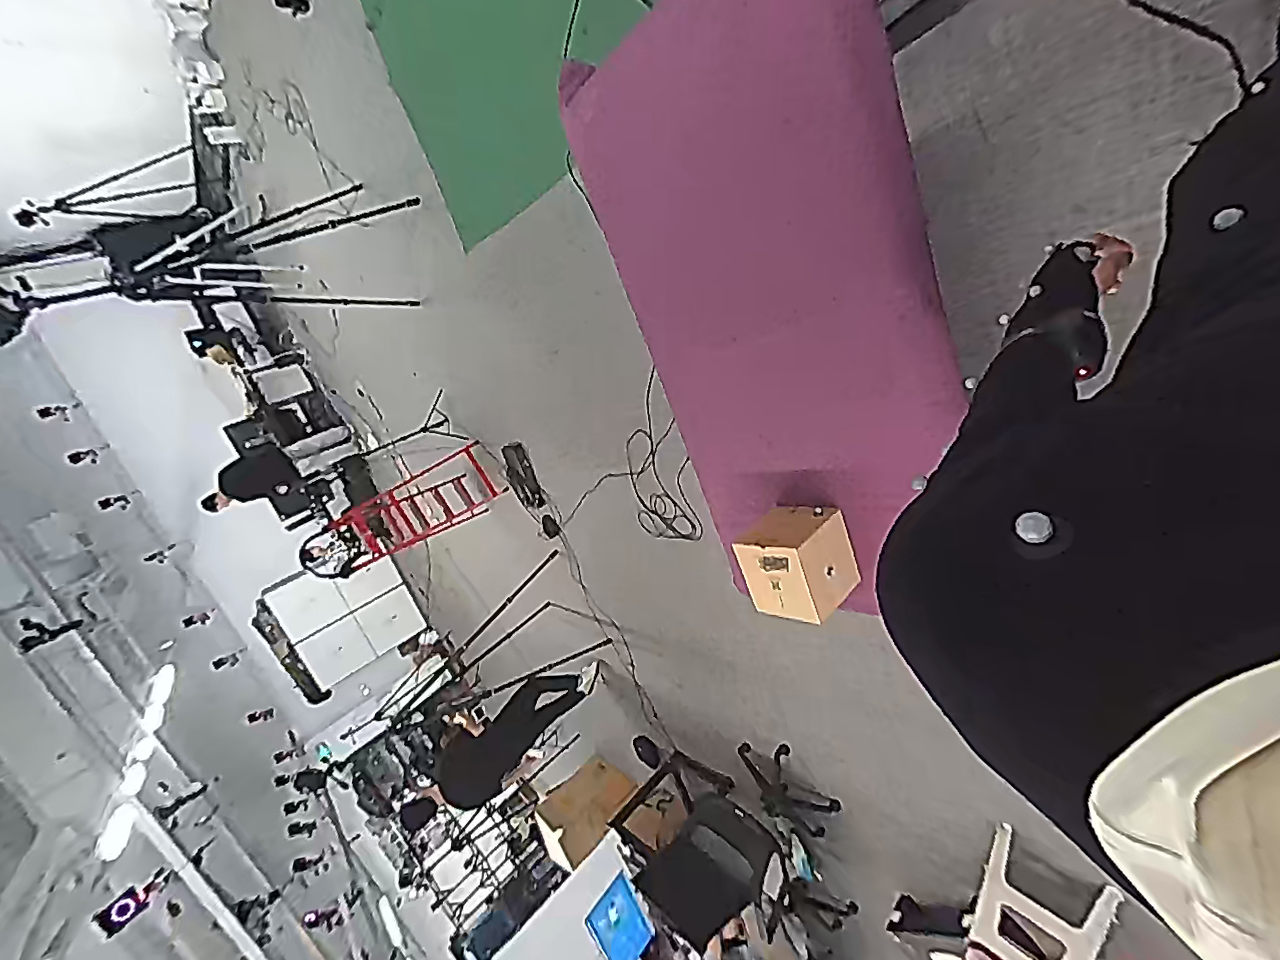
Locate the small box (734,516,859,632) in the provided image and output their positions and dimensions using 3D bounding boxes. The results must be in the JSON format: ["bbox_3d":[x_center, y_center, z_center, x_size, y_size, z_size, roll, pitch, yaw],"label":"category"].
[{"bbox_3d":[0.332,0.187,1.140,0.168,0.176,0.179,-2,115,52],"label":"small box"}]
